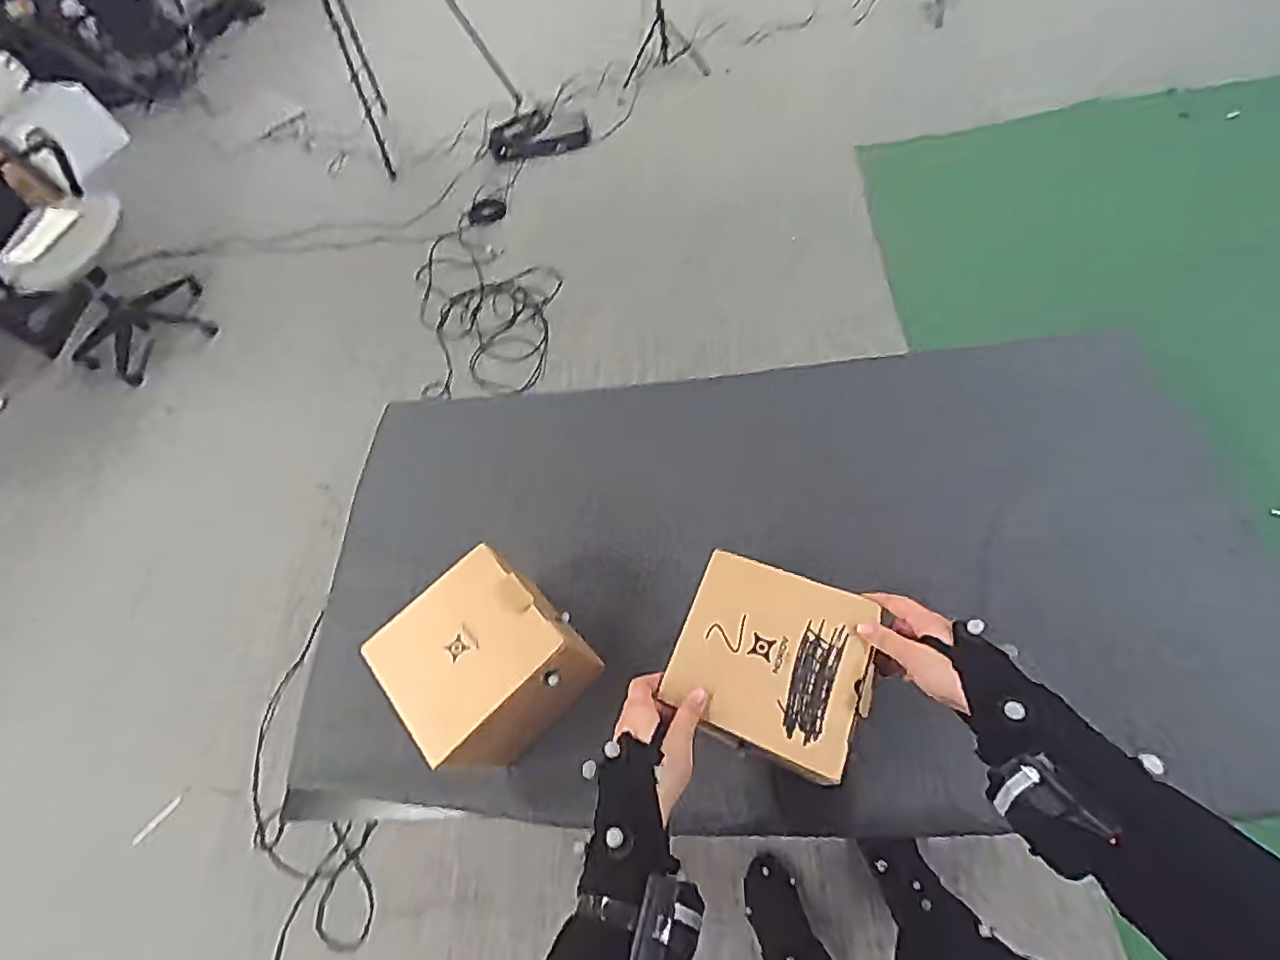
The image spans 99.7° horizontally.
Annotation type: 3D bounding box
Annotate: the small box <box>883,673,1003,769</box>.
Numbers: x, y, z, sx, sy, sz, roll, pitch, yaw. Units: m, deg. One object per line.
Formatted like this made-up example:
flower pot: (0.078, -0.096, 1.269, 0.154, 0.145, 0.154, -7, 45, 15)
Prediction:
small box: (0.626, 0.514, 1.147, 0.179, 0.176, 0.168, -1, 61, 10)

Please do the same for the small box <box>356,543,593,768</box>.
small box: (-0.182, 0.214, 0.640, 0.179, 0.176, 0.168, -43, 61, -13)

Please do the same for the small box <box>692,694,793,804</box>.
small box: (0.229, 0.590, 1.189, 0.179, 0.176, 0.168, 11, 63, 19)
